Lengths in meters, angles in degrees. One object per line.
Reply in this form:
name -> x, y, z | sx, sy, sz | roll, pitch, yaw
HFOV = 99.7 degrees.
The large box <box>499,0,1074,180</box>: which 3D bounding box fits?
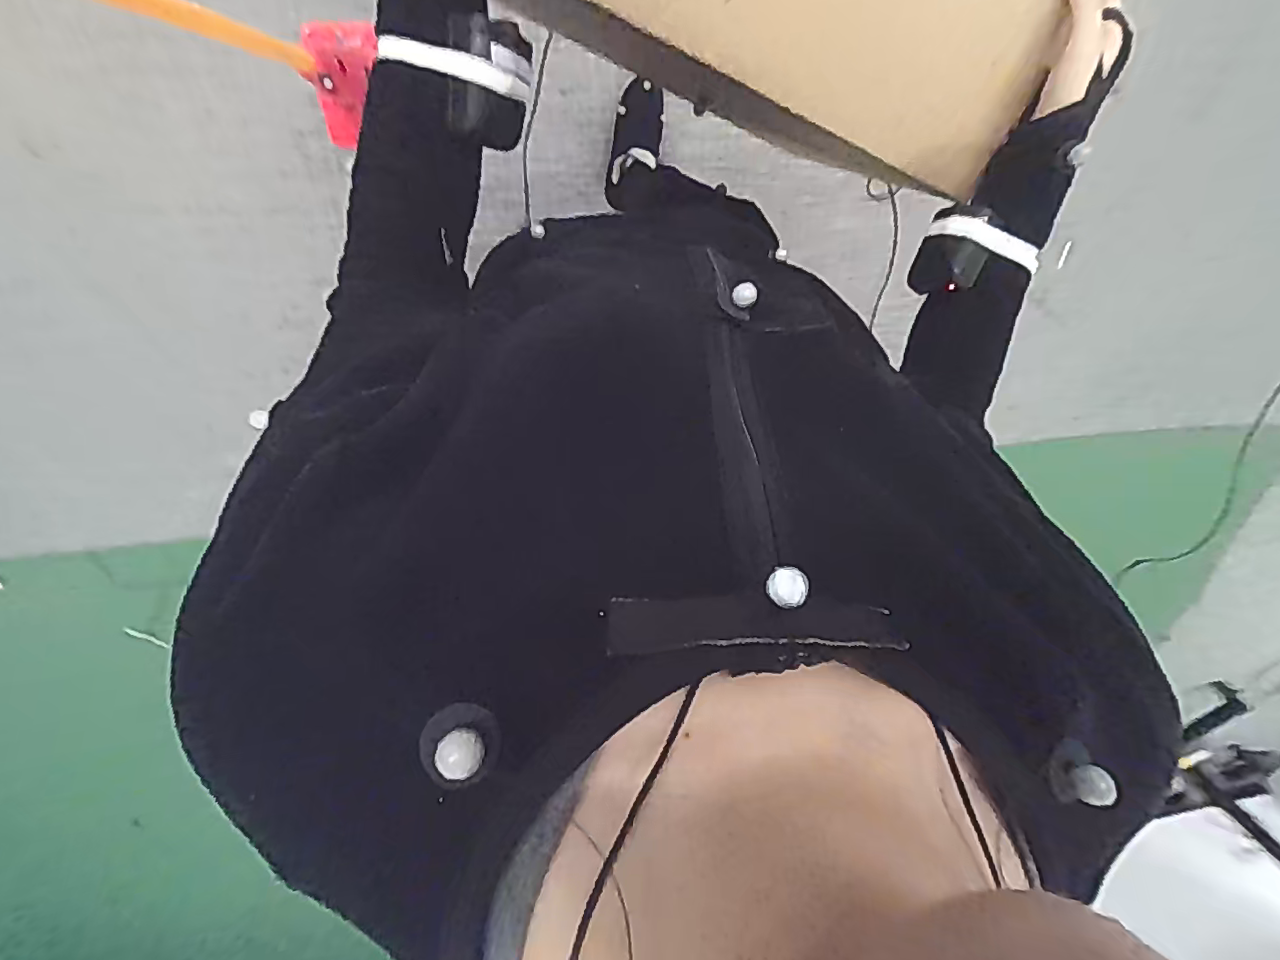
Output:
large box -> 0.117, -0.487, 0.439 | 0.408, 0.320, 0.320 | 8, 121, -22
